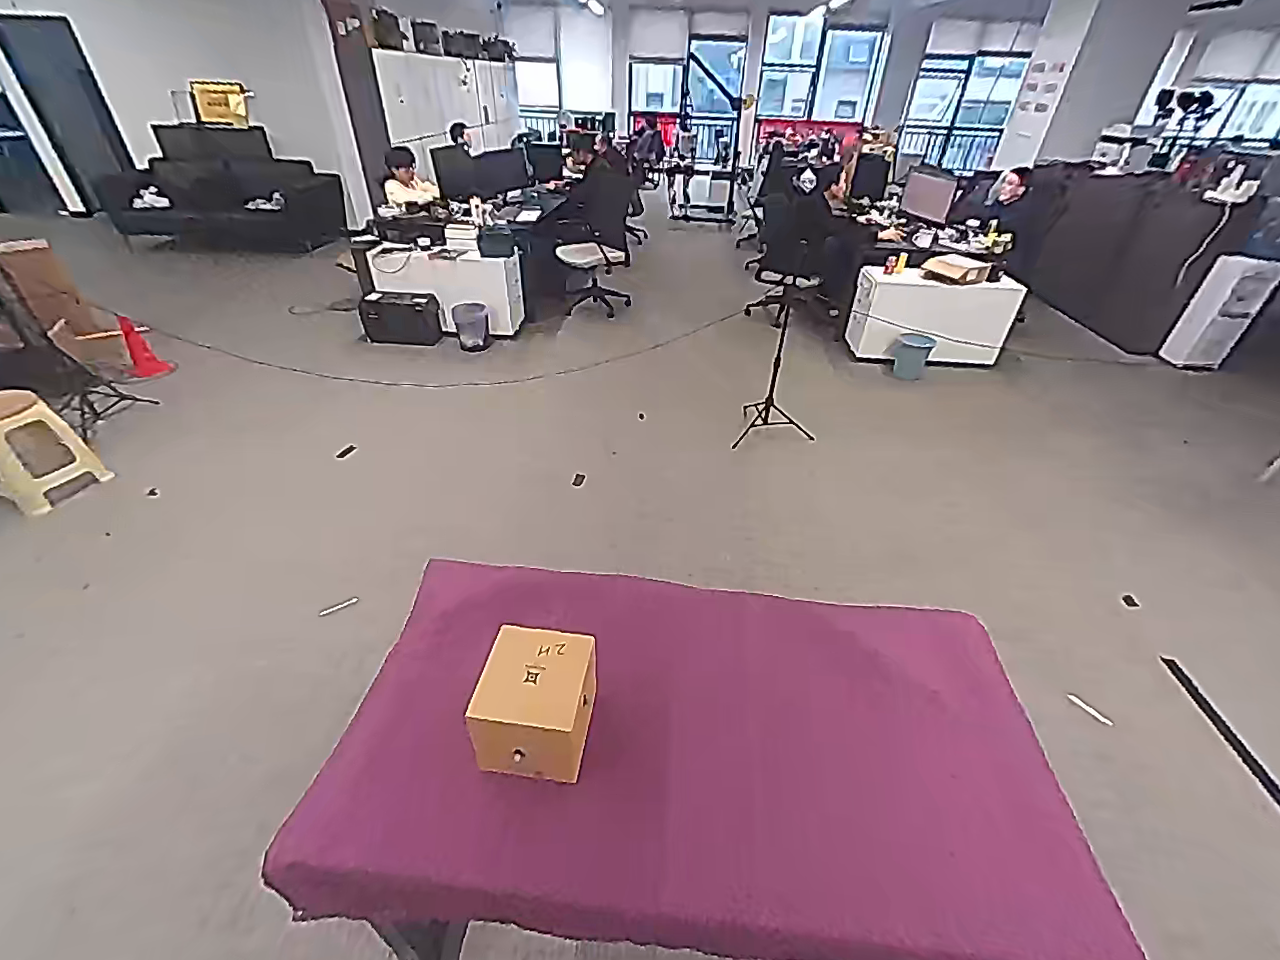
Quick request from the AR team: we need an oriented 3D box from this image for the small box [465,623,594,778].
[{"bbox_3d":[-0.174,0.375,0.919,0.168,0.176,0.179,7,37,5],"label":"small box"}]
